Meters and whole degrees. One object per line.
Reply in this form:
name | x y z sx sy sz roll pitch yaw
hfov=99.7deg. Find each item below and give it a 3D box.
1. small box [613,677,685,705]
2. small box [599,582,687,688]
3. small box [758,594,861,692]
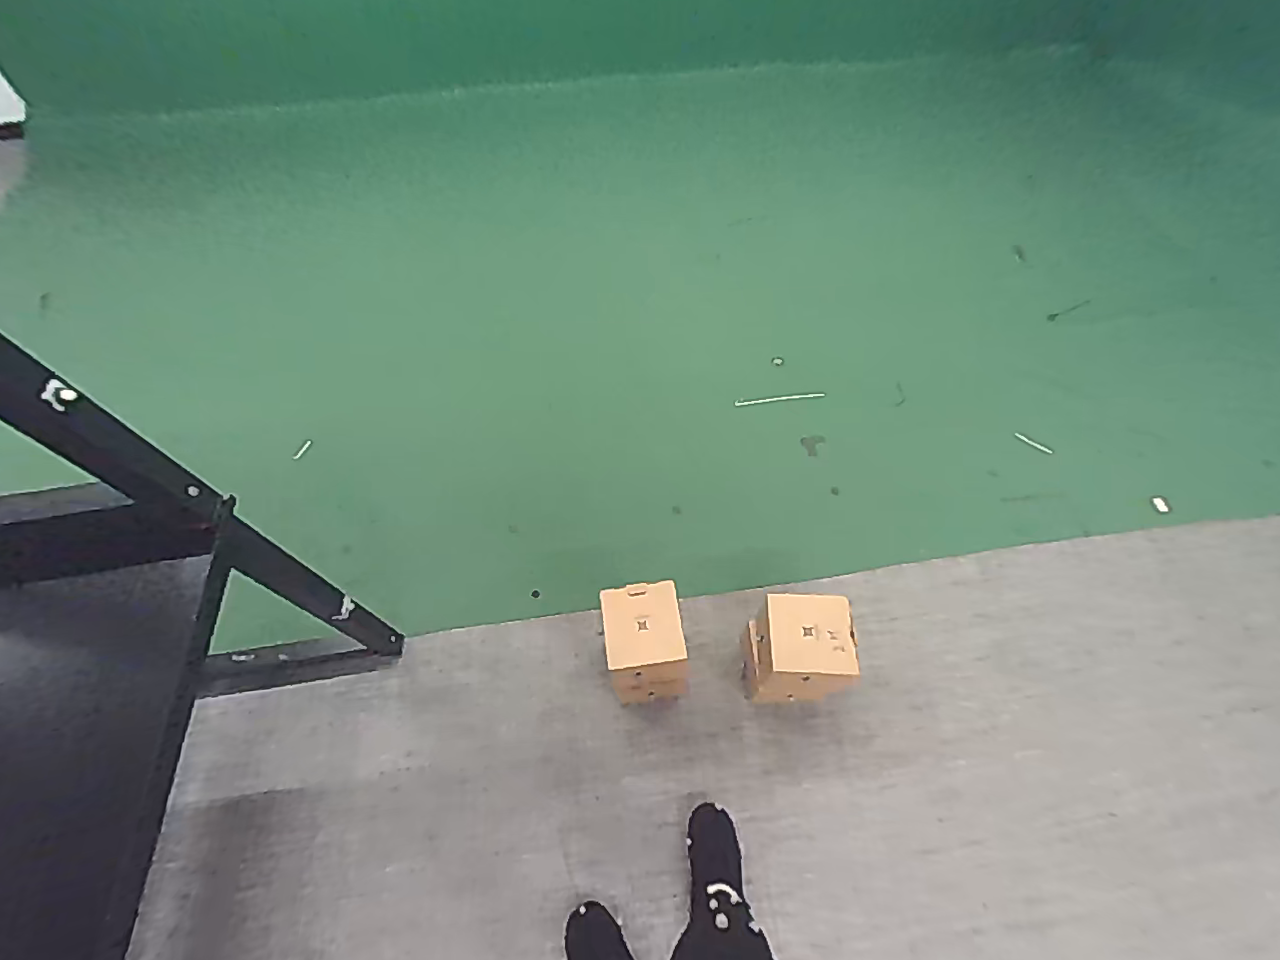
small box | 0.014 0.443 1.328 0.168 0.176 0.179 -9 58 -4
small box | 0.008 0.349 1.195 0.168 0.176 0.179 -9 56 -3
small box | 0.356 0.359 1.177 0.179 0.176 0.168 2 59 2
